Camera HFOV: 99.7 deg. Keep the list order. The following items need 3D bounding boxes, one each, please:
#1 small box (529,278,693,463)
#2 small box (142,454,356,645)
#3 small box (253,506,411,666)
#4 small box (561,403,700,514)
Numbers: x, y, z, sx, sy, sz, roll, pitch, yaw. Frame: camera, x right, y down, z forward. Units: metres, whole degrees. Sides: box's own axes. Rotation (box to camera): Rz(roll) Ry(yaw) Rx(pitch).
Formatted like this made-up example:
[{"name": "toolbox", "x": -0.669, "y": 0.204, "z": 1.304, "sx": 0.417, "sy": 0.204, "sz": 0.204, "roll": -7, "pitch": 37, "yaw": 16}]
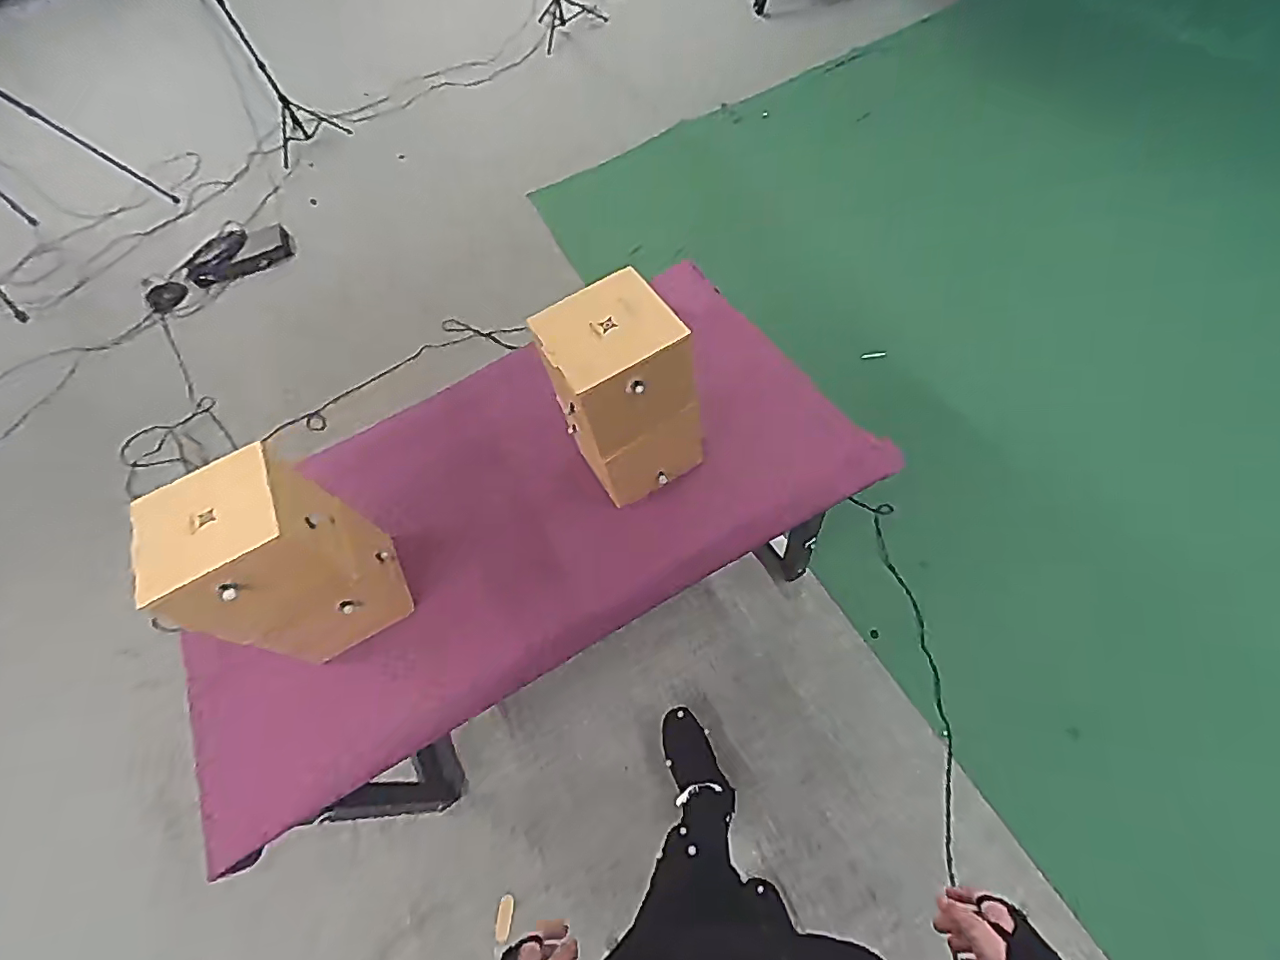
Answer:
[{"name": "small box", "x": -0.035, "y": -0.155, "z": 0.805, "sx": 0.179, "sy": 0.176, "sz": 0.168, "roll": -30, "pitch": 61, "yaw": -7}, {"name": "small box", "x": -0.523, "y": 0.101, "z": 0.745, "sx": 0.179, "sy": 0.176, "sz": 0.168, "roll": -30, "pitch": 61, "yaw": -7}, {"name": "small box", "x": -0.501, "y": 0.178, "z": 0.886, "sx": 0.179, "sy": 0.176, "sz": 0.168, "roll": -29, "pitch": 60, "yaw": -8}, {"name": "small box", "x": -0.010, "y": -0.073, "z": 0.945, "sx": 0.179, "sy": 0.176, "sz": 0.168, "roll": -31, "pitch": 60, "yaw": -8}]
